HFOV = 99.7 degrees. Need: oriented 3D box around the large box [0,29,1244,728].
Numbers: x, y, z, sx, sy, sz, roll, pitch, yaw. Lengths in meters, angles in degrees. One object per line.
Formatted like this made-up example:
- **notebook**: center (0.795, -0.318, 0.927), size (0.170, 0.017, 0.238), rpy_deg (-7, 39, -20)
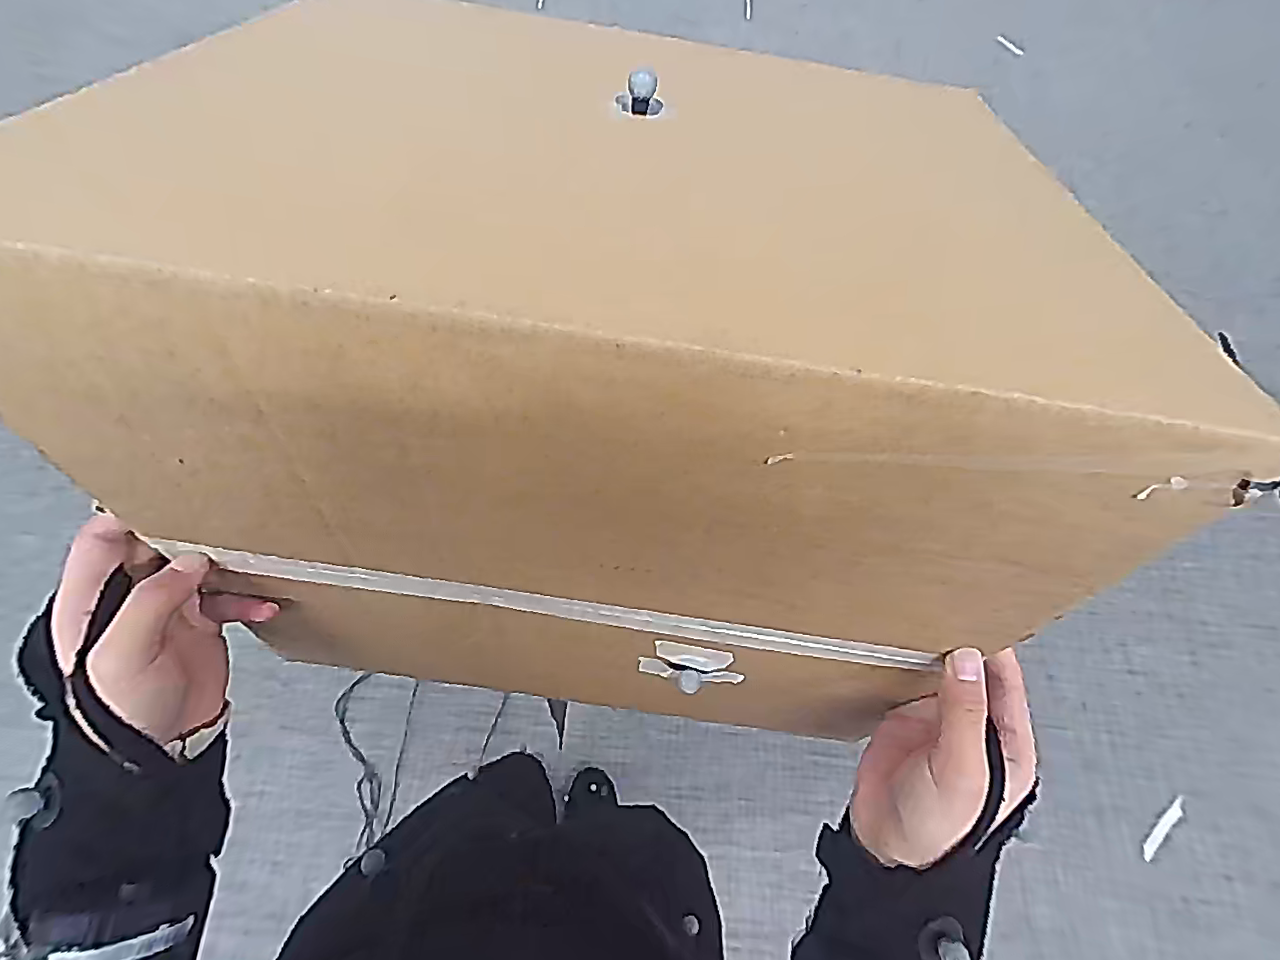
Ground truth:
- **large box**: center (-0.019, -0.057, 0.365), size (0.408, 0.320, 0.320), rpy_deg (8, 52, -1)
